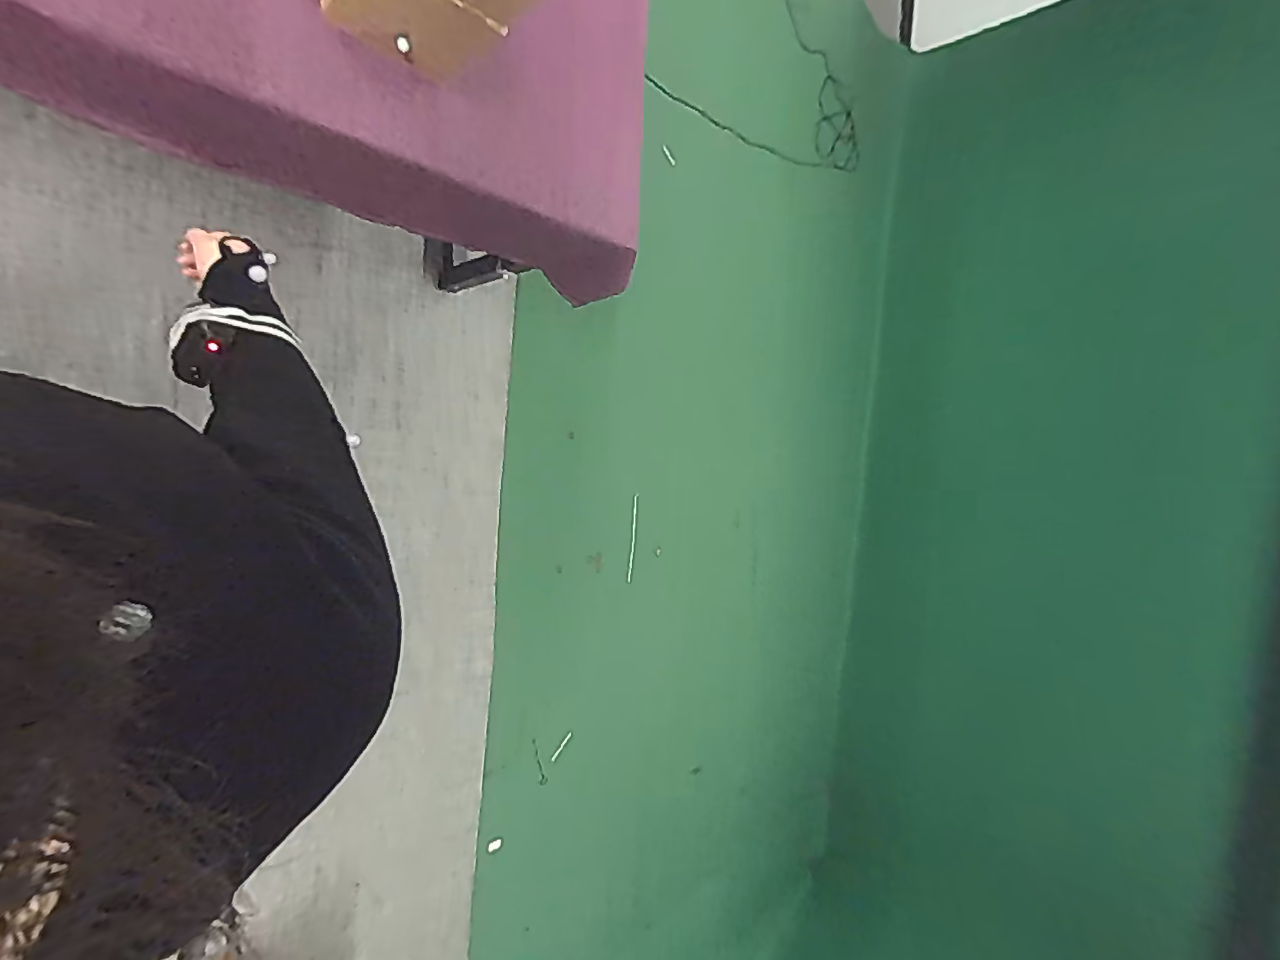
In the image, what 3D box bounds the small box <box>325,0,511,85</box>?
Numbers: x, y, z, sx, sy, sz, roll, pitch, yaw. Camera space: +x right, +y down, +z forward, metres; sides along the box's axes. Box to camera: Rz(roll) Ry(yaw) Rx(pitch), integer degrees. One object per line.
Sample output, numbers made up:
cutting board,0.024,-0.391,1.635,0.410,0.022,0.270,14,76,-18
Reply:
small box,-0.276,-0.650,0.672,0.168,0.176,0.179,0,95,-47
